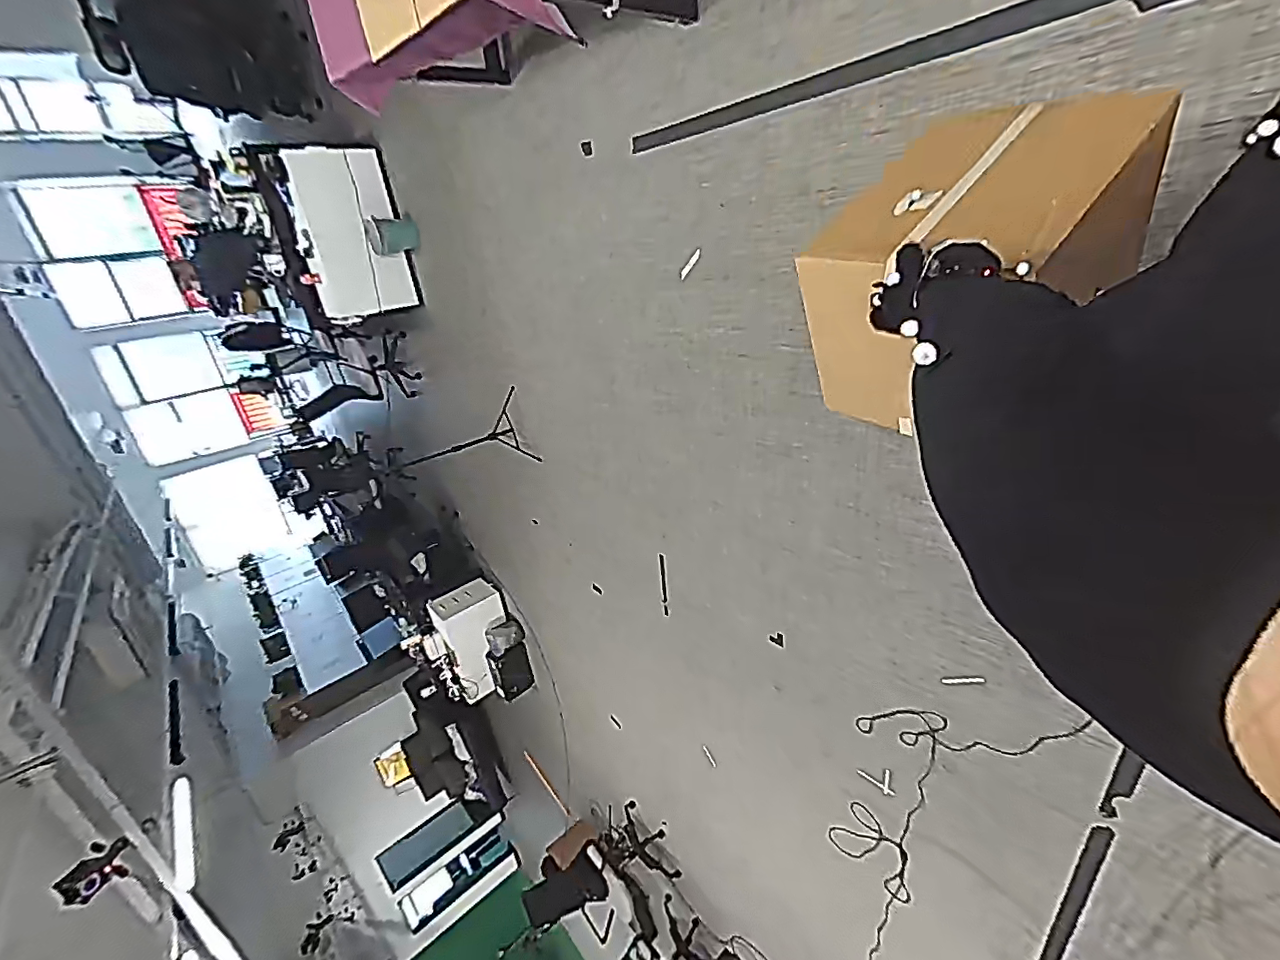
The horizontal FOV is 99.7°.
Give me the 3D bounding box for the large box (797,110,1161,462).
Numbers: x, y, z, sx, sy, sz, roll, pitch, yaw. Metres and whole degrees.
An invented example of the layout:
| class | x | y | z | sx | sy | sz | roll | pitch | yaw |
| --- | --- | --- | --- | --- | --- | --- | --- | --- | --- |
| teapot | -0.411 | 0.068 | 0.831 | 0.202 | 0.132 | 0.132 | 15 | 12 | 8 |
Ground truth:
| class | x | y | z | sx | sy | sz | roll | pitch | yaw |
| --- | --- | --- | --- | --- | --- | --- | --- | --- | --- |
| large box | 0.515 | -0.303 | 0.854 | 0.320 | 0.408 | 0.320 | 28 | 157 | 45 |
